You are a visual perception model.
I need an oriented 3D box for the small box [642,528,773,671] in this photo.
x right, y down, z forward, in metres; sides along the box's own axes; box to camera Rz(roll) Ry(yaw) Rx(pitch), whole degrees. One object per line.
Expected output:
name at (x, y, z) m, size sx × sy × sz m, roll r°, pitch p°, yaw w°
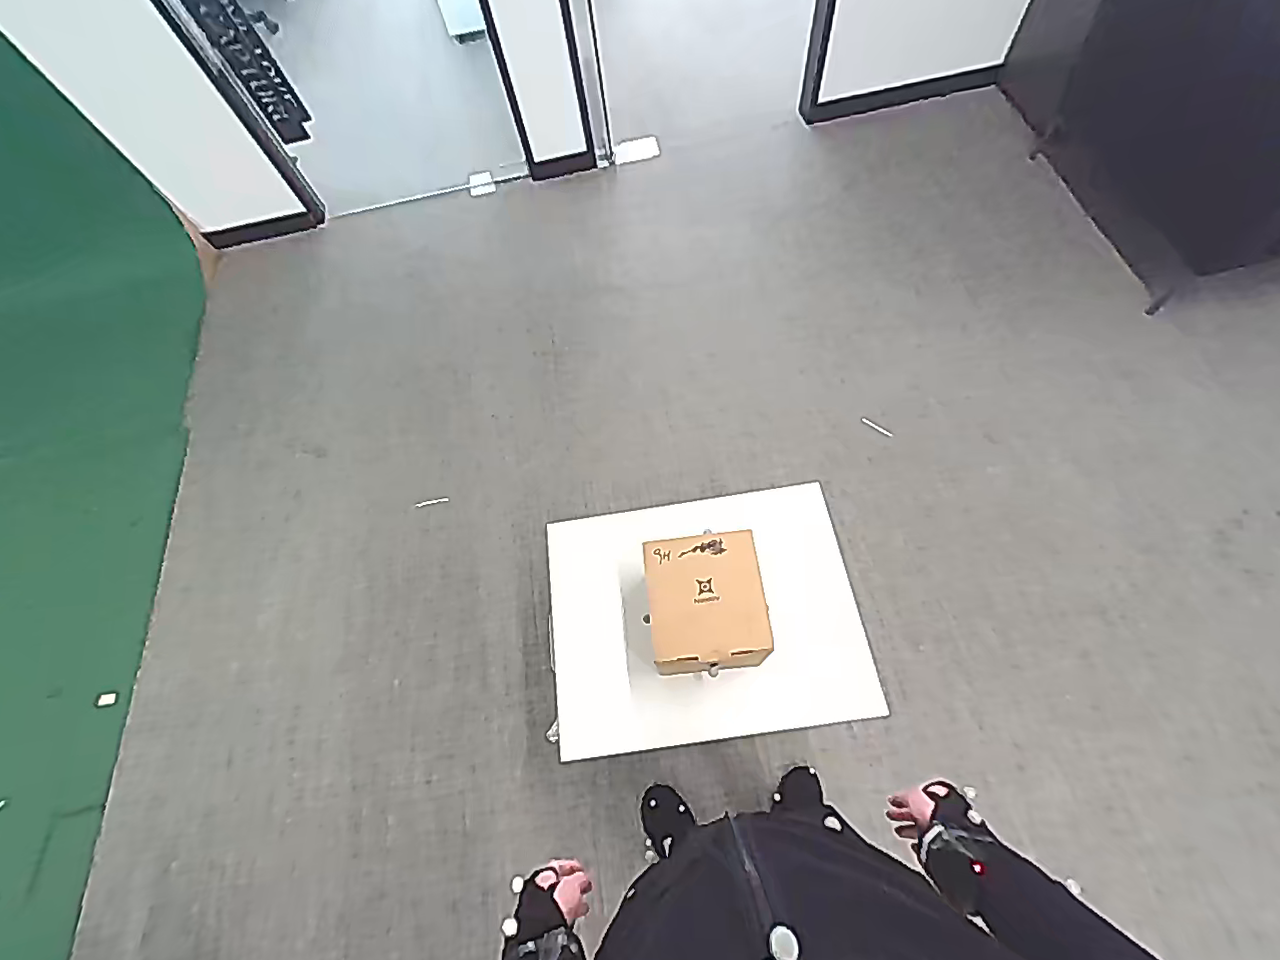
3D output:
small box at (0.101, 0.194, 0.839) m, size 0.168 × 0.176 × 0.179 m, roll -9°, pitch 63°, yaw 2°
